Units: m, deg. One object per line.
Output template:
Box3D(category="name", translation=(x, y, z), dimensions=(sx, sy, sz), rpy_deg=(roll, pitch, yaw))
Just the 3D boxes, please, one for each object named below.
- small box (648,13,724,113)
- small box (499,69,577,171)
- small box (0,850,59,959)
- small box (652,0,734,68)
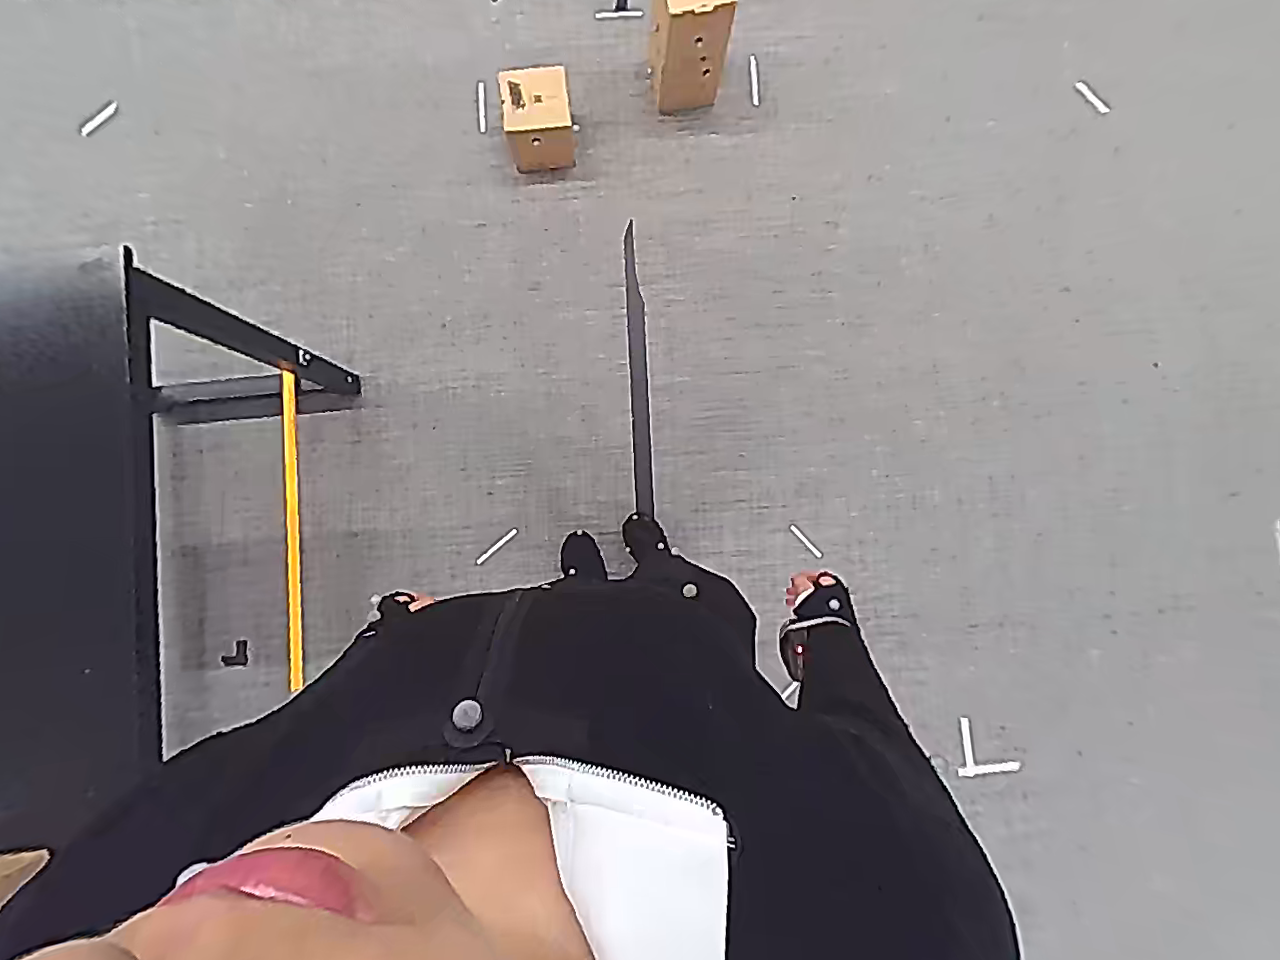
Box3D(category="small box", translation=(0.123, -1.168, 1.508), dimensions=(0.179, 0.176, 0.168), rpy_deg=(-10, 87, -2))
Box3D(category="small box", translation=(-0.276, -0.979, 1.485), dimensions=(0.179, 0.176, 0.168), rpy_deg=(-7, 87, -2))
Box3D(category="small box", translation=(-0.873, 0.586, 0.649), dimensions=(0.179, 0.176, 0.168), rpy_deg=(-7, 88, -2))
Box3D(category="small box", translation=(0.126, -1.169, 1.345), dimensions=(0.168, 0.176, 0.179), rpy_deg=(-11, 88, -2))
